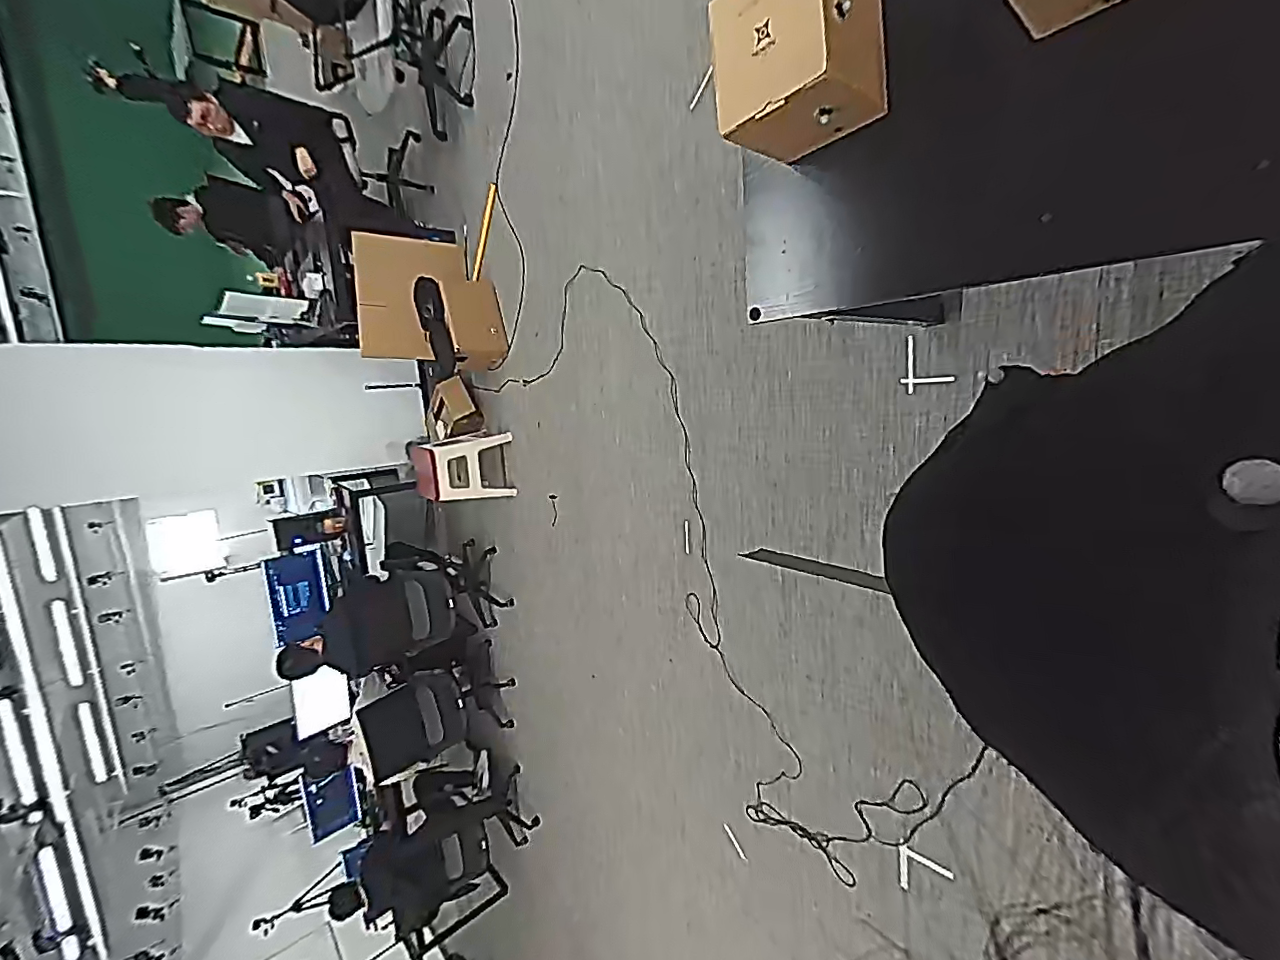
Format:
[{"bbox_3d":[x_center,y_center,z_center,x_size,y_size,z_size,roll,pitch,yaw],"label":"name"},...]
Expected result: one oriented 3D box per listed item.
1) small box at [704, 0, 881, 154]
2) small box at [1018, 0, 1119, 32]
[{"bbox_3d":[0.209,-0.570,0.730,0.168,0.176,0.179,0,99,48],"label":"small box"},{"bbox_3d":[0.428,-0.561,0.480,0.168,0.176,0.179,5,103,48],"label":"small box"}]
